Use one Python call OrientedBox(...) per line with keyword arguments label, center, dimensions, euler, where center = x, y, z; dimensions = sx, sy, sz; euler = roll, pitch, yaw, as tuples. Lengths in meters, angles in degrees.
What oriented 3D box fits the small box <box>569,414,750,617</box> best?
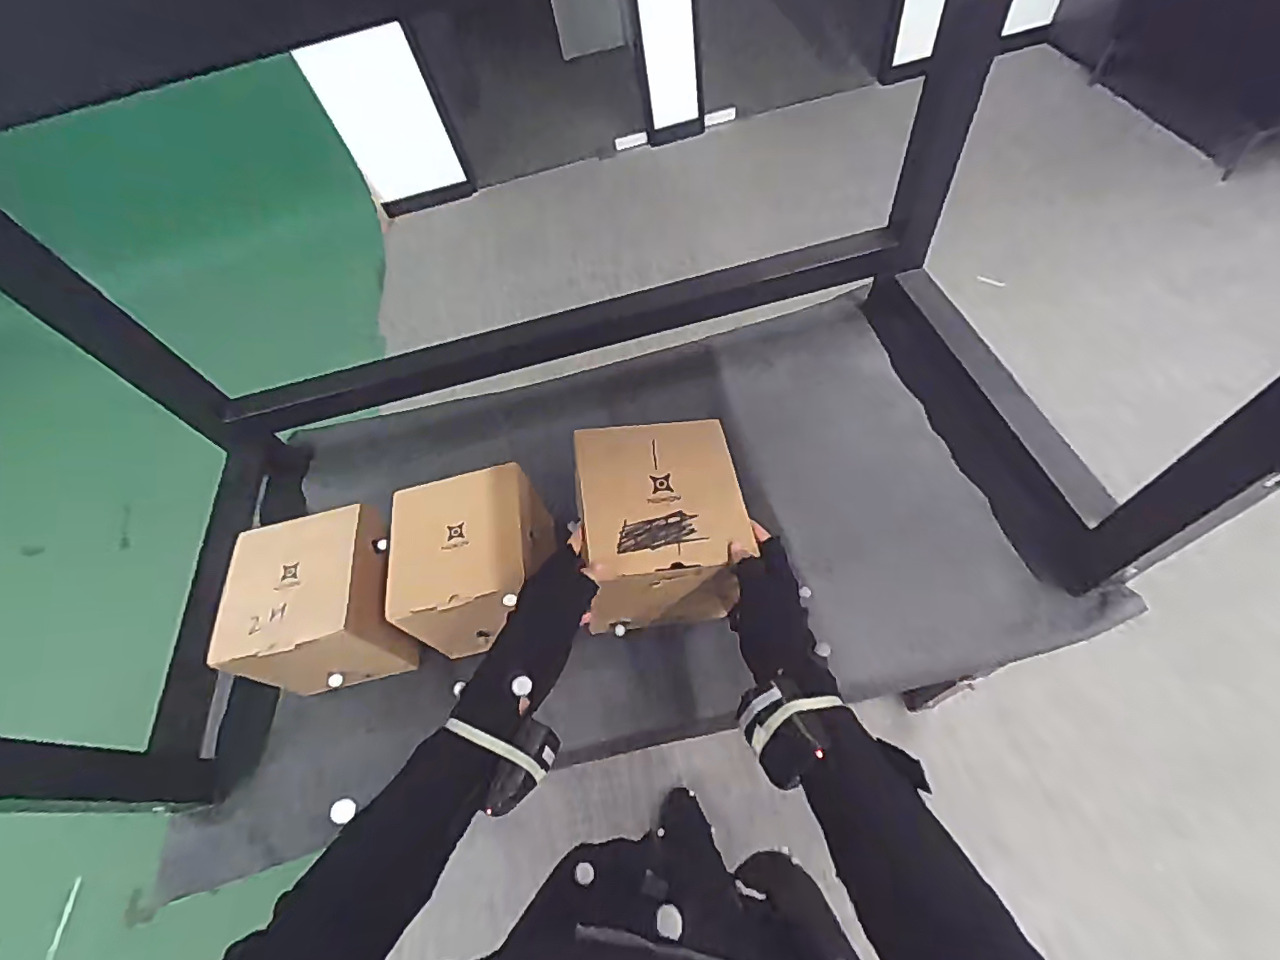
OrientedBox(label="small box", center=(0.009, 0.048, 0.618), dimensions=(0.168, 0.176, 0.179), euler=(-5, 57, -10))
